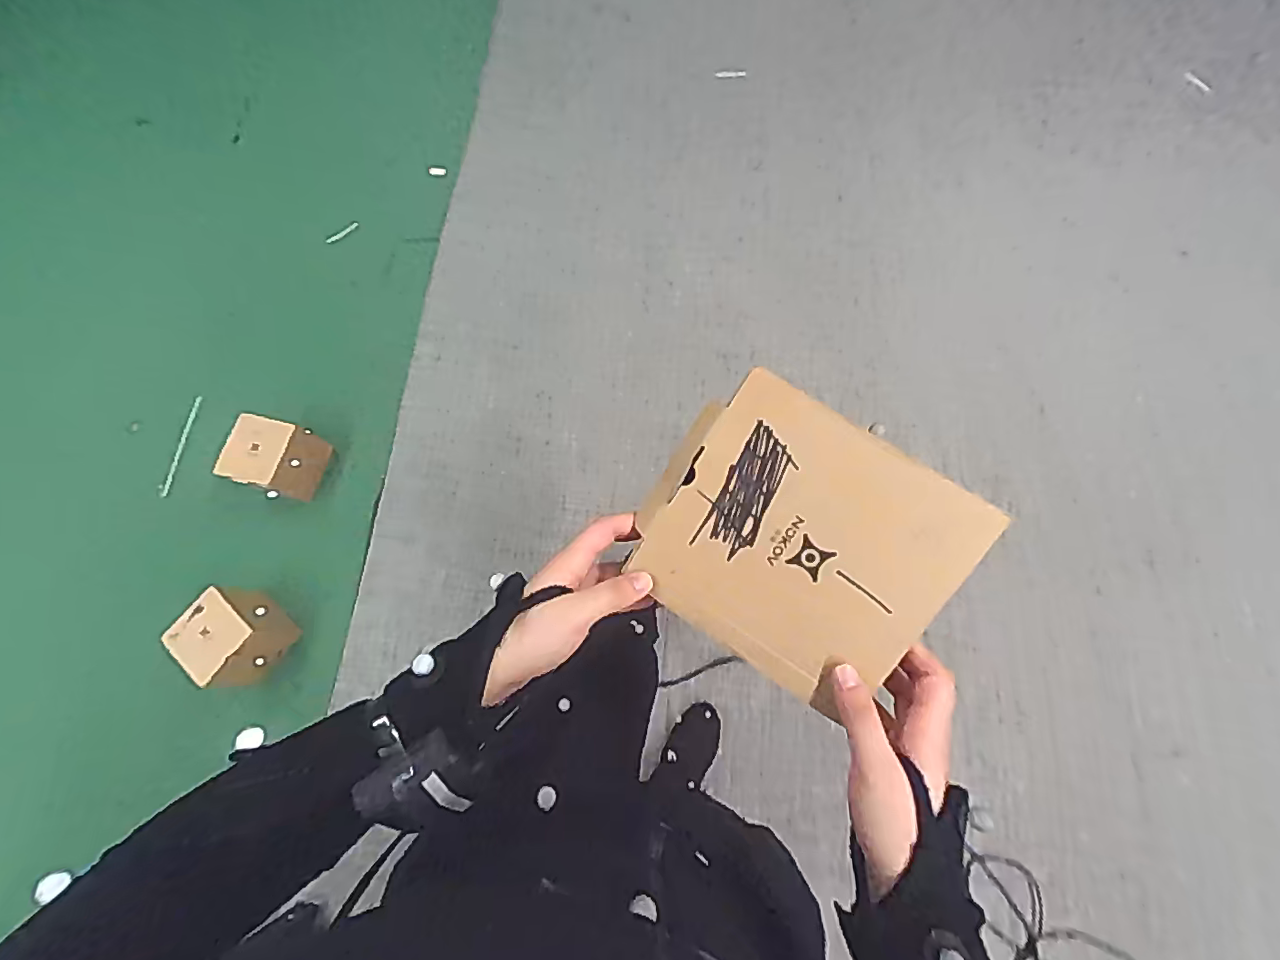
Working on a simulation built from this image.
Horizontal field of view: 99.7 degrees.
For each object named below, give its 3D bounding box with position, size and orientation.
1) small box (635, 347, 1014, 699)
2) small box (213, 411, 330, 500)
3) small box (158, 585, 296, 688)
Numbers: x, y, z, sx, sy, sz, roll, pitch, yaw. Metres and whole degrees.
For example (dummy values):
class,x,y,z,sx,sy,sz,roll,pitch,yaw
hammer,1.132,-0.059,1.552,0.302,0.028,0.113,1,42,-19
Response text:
class,x,y,z,sx,sy,sz,roll,pitch,yaw
small box,0.124,0.023,0.419,0.179,0.176,0.168,33,100,8
small box,-0.984,-0.060,1.463,0.168,0.176,0.179,13,74,7
small box,-1.006,0.381,1.333,0.179,0.176,0.168,39,80,14
